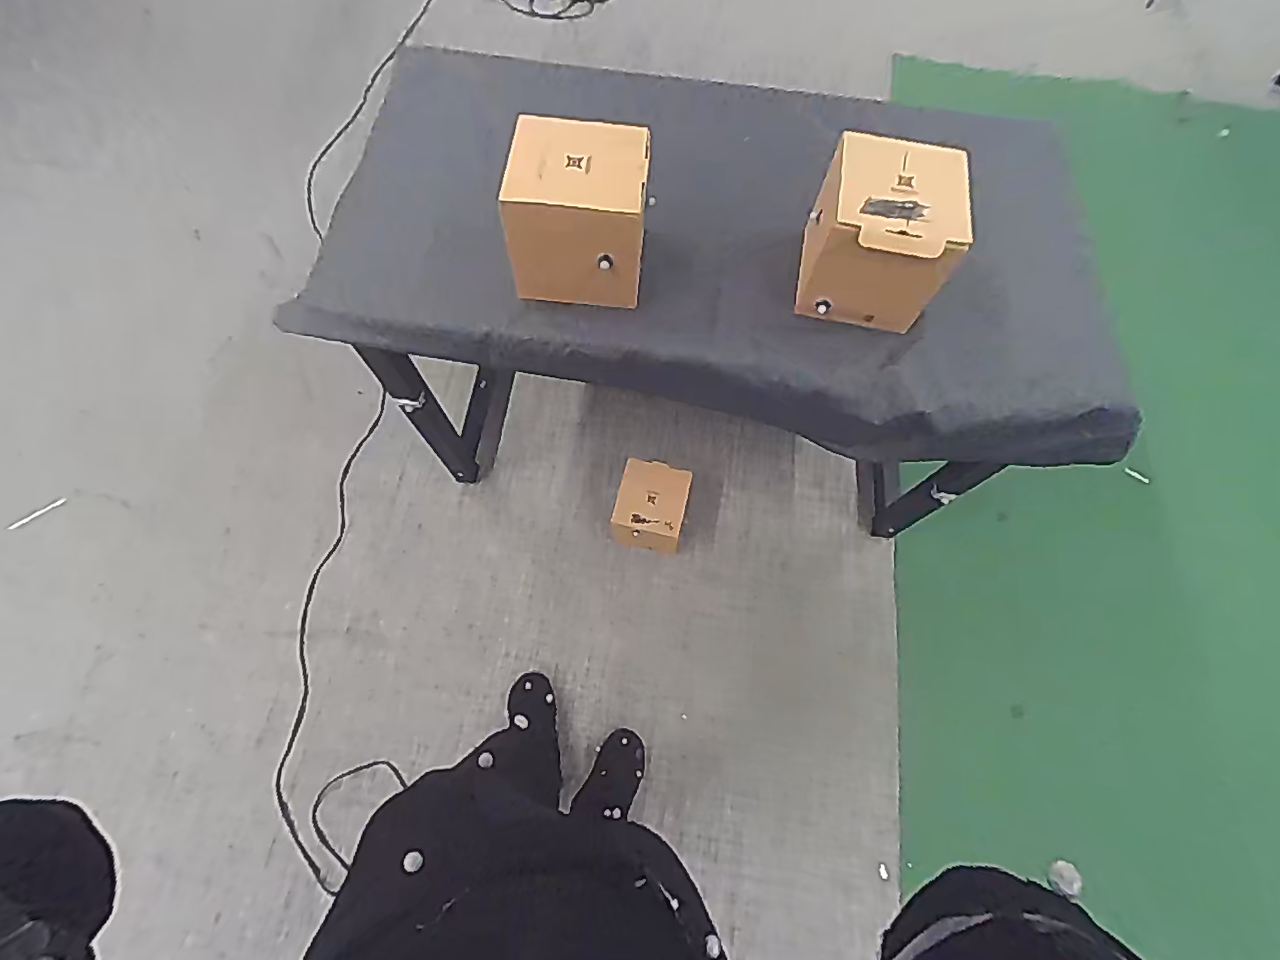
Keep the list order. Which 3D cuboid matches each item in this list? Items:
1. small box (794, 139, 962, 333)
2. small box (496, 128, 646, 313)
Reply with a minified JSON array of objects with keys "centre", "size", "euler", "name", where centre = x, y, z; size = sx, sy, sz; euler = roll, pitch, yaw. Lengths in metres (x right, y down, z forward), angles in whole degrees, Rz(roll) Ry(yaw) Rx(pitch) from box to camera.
[{"centre":[0.325,-0.335,0.763],"size":[0.168,0.176,0.179],"euler":[11,67,3],"name":"small box"},{"centre":[-0.086,-0.356,0.762],"size":[0.179,0.176,0.168],"euler":[3,65,0],"name":"small box"}]
